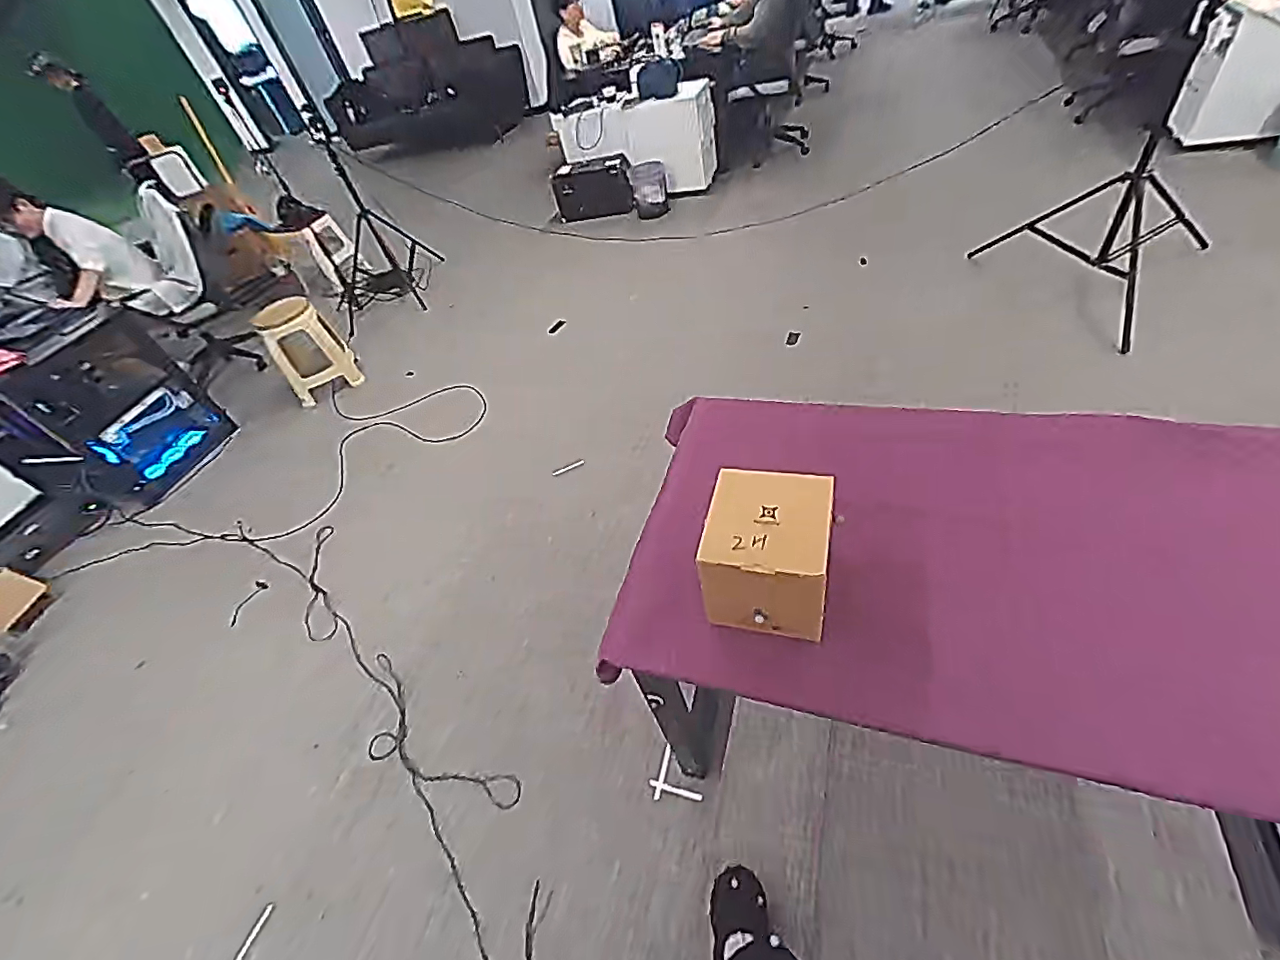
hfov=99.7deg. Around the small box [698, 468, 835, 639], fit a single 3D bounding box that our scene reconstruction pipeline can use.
[{"bbox_3d":[0.191,0.107,0.800,0.168,0.176,0.179,5,49,20],"label":"small box"}]
